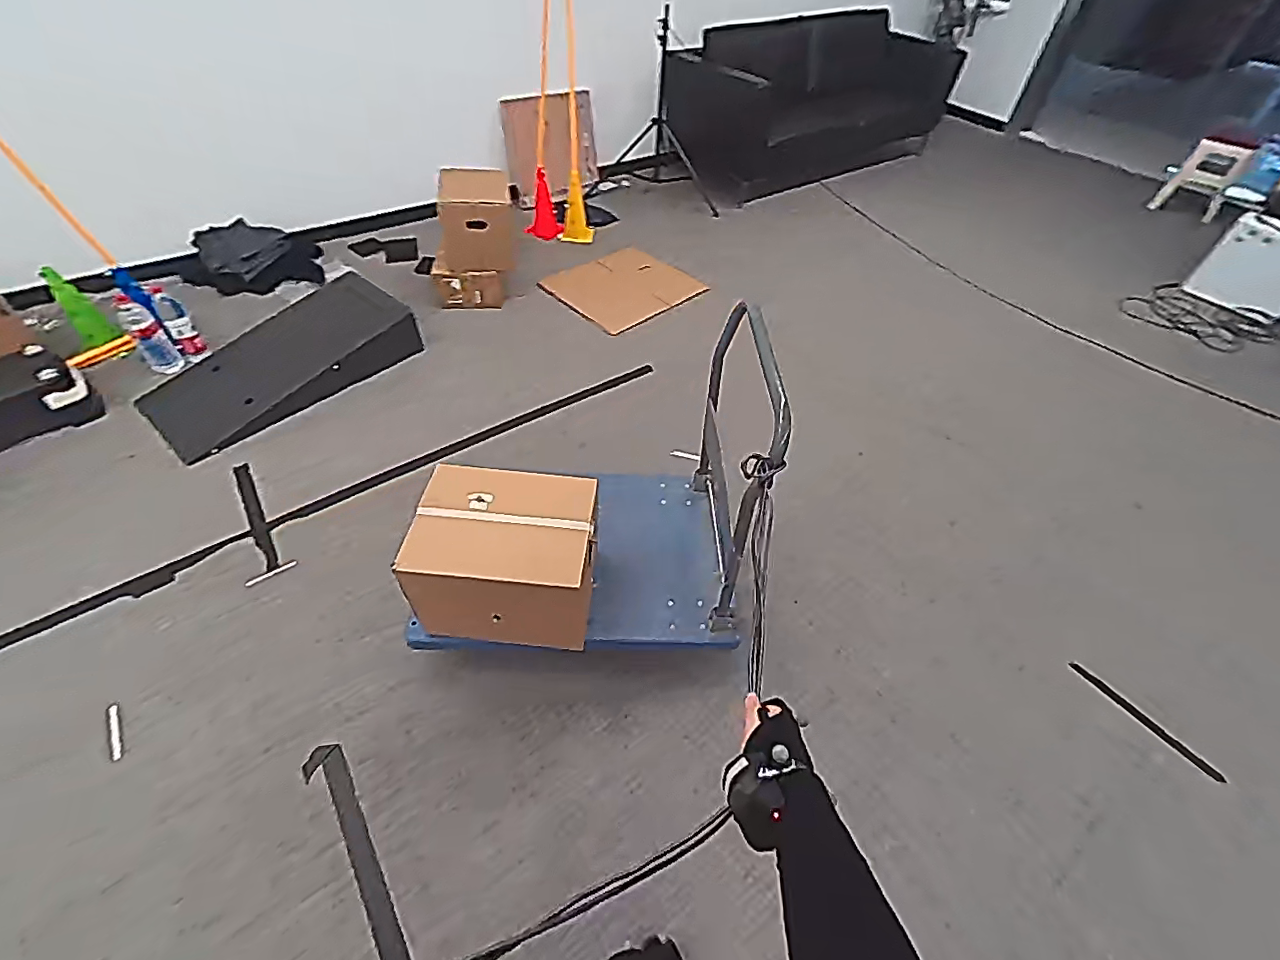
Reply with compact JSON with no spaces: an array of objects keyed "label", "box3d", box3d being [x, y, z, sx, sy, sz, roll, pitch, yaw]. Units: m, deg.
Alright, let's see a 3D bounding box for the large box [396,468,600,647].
[{"label":"large box","box3d":[-0.314,0.197,1.344,0.408,0.320,0.320,5,48,1]}]
